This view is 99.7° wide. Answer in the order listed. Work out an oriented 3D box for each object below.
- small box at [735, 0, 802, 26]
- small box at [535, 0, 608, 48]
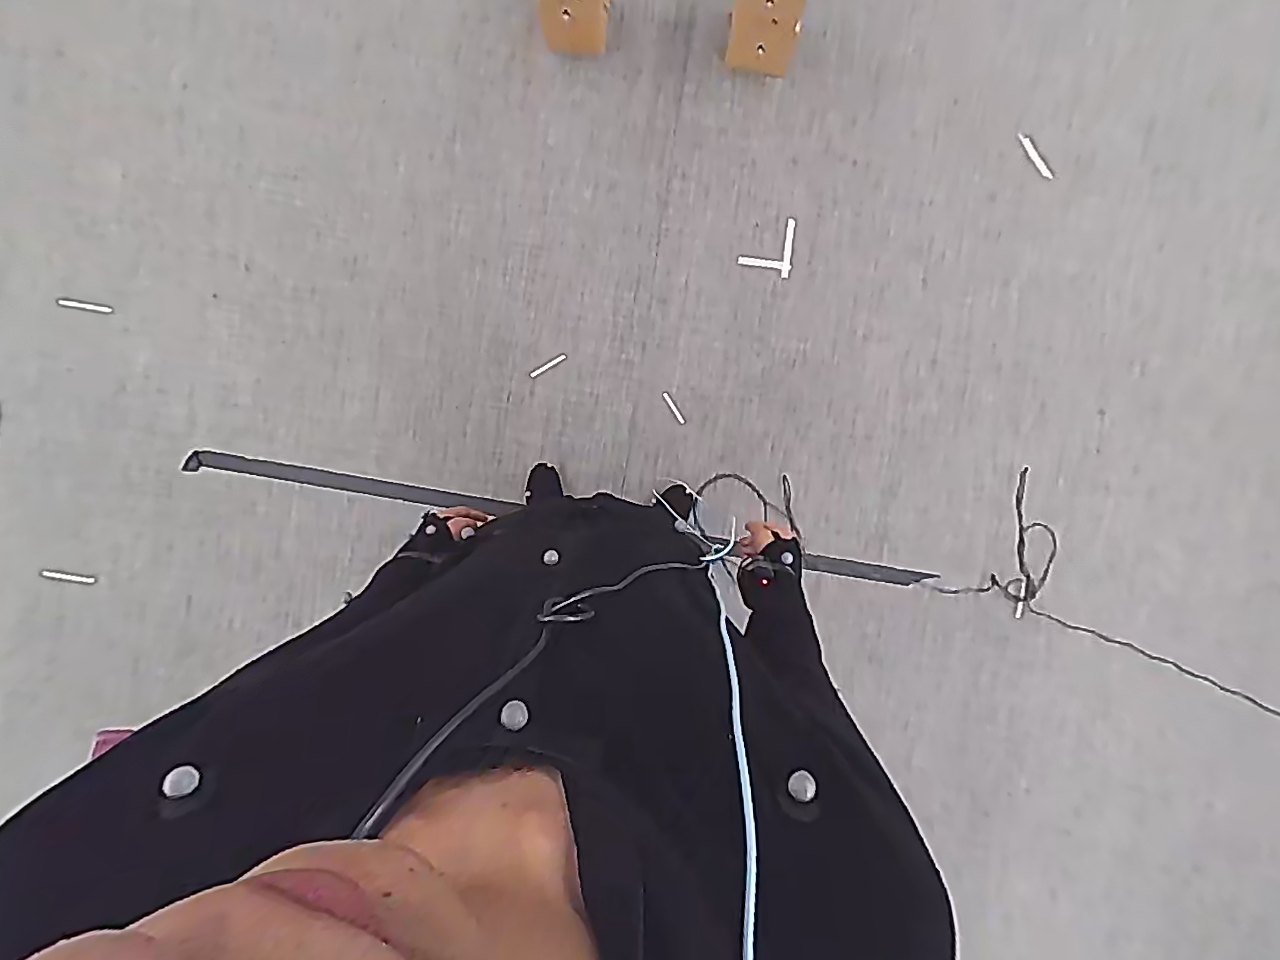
[{"bbox_3d":[0.340,-1.283,1.337,0.168,0.176,0.179,11,93,-2],"label":"small box"},{"bbox_3d":[-0.183,-1.343,1.491,0.179,0.176,0.168,8,93,-1],"label":"small box"}]
